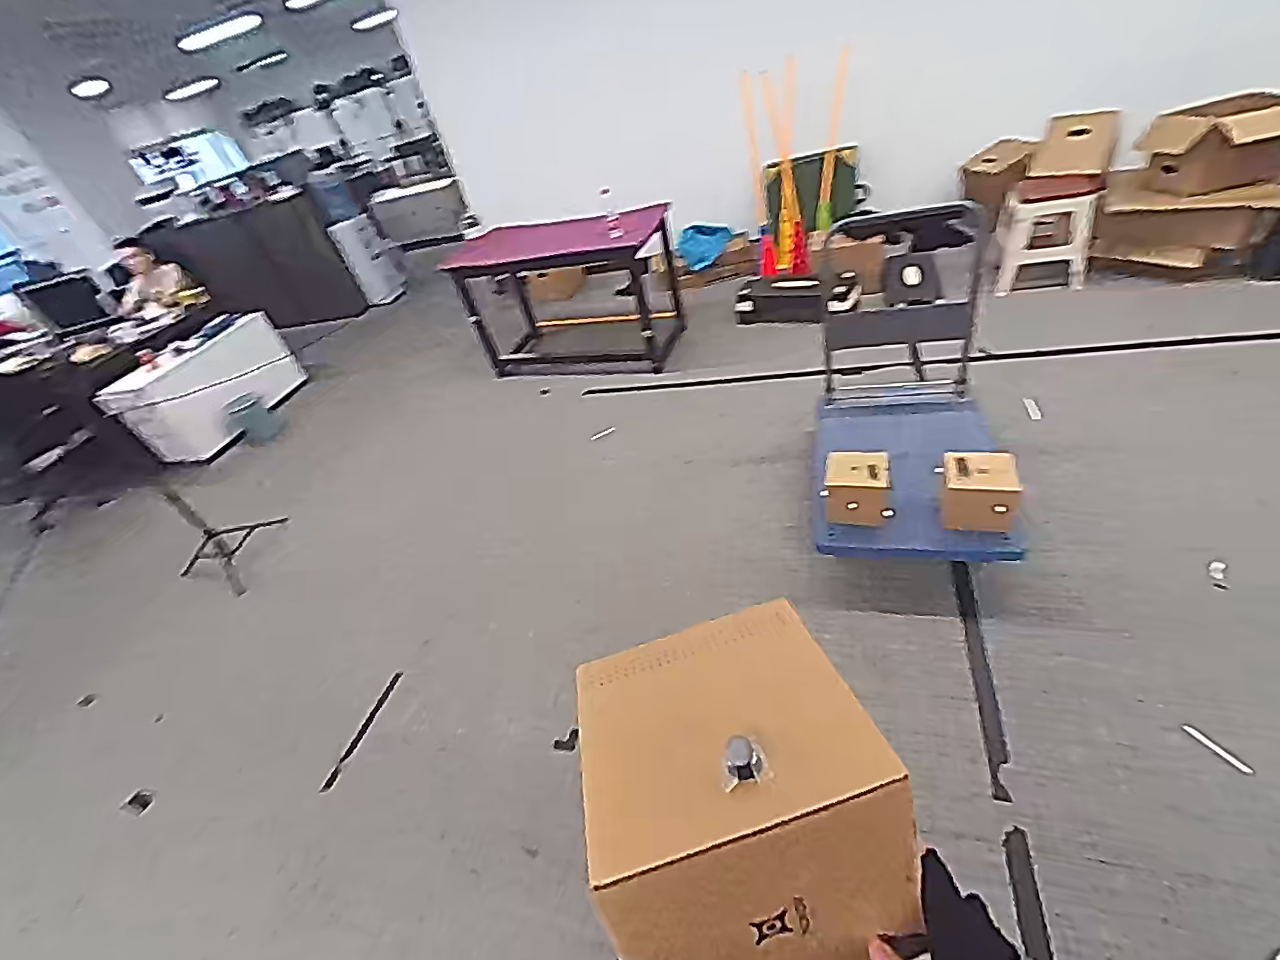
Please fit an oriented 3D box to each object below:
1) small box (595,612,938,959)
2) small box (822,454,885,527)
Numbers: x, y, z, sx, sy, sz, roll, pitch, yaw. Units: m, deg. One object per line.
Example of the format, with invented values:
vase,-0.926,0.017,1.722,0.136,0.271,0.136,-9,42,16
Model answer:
small box,0.071,0.223,0.379,0.179,0.168,0.176,-18,22,-2
small box,0.681,0.035,1.725,0.179,0.176,0.168,2,42,23
